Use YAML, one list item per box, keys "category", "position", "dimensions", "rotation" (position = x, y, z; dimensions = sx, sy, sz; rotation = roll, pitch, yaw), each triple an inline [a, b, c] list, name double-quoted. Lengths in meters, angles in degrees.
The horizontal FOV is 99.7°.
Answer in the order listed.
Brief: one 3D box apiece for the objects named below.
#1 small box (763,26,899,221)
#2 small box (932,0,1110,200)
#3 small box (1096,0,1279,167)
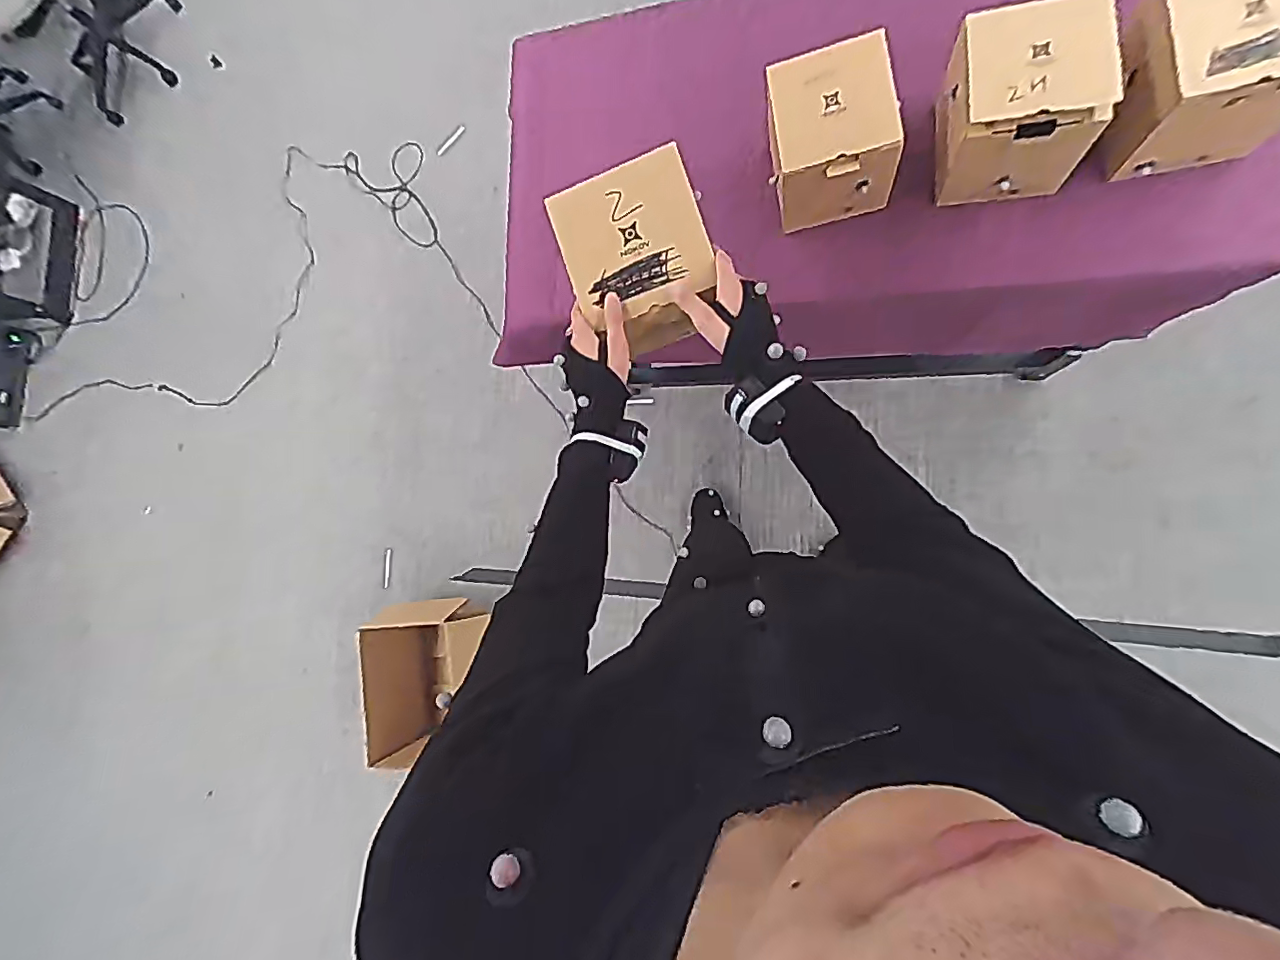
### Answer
- category: "small box"
  position: [0.290, -0.532, 0.841]
  dimensions: [0.168, 0.176, 0.179]
  rotation: [-9, 83, 15]
- category: "small box"
  position: [0.527, -0.536, 0.772]
  dimensions: [0.168, 0.176, 0.179]
  rotation: [1, 87, 17]
- category: "small box"
  position: [0.739, -0.547, 0.713]
  dimensions: [0.168, 0.176, 0.179]
  rotation: [-5, 84, 16]
